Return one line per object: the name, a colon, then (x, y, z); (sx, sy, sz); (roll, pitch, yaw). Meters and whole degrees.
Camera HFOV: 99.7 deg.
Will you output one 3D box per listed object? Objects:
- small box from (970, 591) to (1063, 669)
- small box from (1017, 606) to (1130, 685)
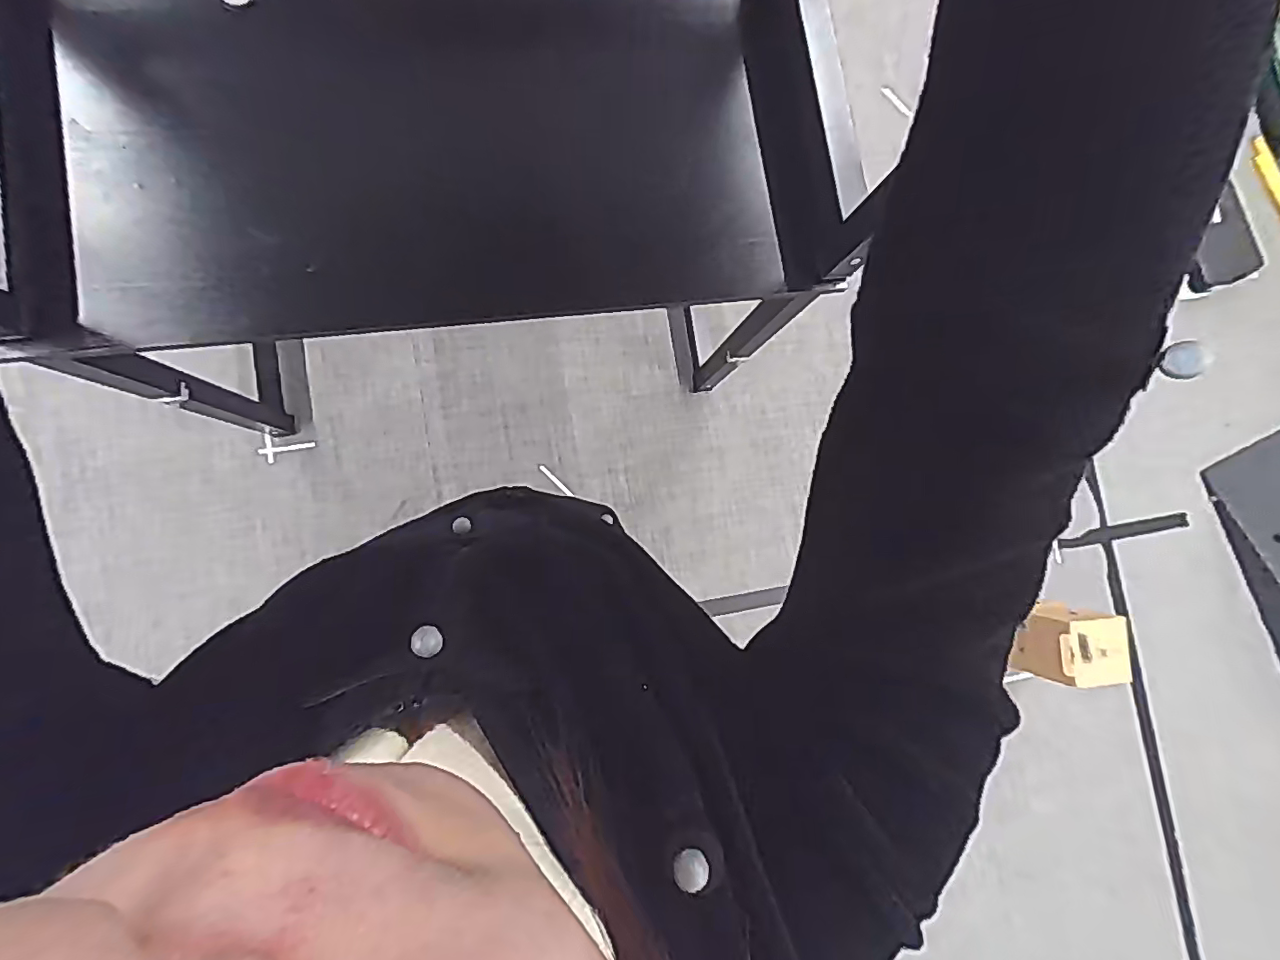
small box: (1.121, 0.441, 1.607); (0.168, 0.176, 0.179); (-7, 88, -10)
small box: (1.143, 0.434, 1.443); (0.179, 0.176, 0.168); (-2, 87, -10)
